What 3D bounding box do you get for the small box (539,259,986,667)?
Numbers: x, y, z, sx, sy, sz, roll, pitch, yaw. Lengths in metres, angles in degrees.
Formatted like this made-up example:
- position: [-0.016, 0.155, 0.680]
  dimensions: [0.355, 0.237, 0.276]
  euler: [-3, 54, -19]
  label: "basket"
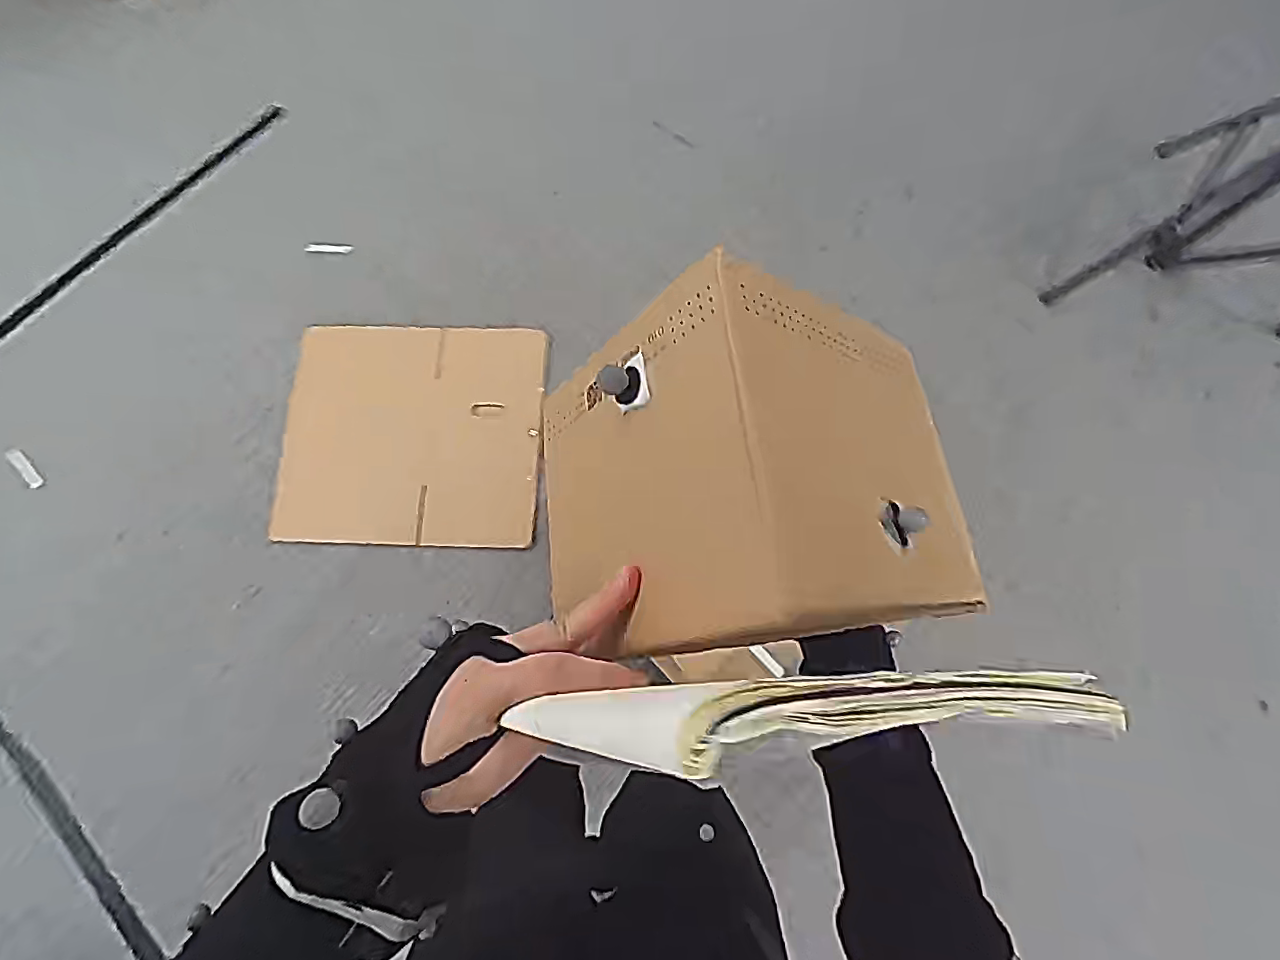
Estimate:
- position: [0.058, 0.006, 0.315]
  dimensions: [0.179, 0.168, 0.176]
  euler: [7, 66, -37]
  label: "small box"
